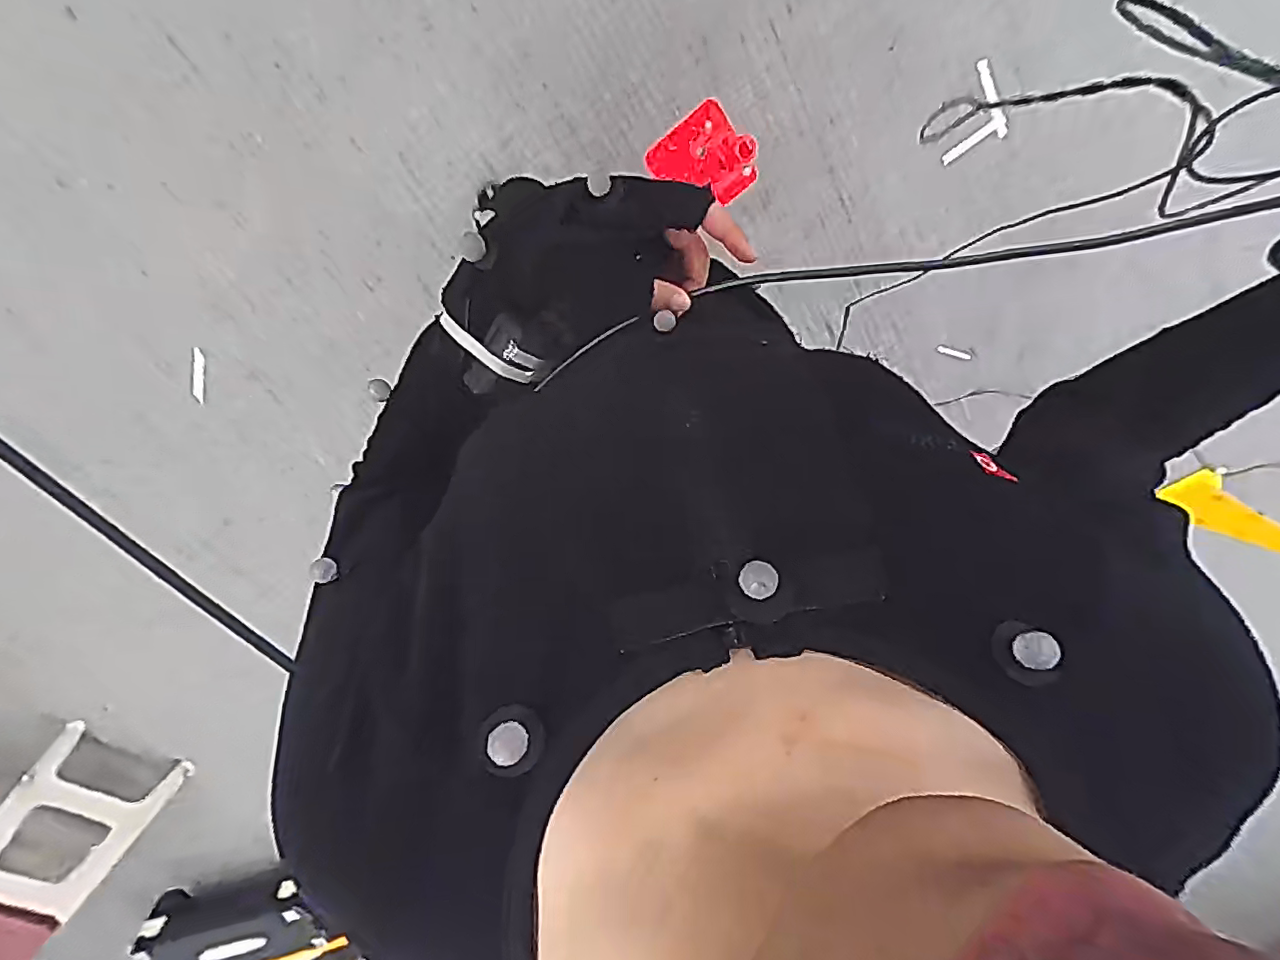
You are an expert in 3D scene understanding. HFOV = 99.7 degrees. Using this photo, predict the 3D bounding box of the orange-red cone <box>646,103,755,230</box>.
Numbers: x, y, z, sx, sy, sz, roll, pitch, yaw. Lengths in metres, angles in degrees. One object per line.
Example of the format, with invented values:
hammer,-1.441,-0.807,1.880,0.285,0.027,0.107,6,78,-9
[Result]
orange-red cone,0.153,-0.627,1.066,0.199,0.360,0.198,-35,113,11
